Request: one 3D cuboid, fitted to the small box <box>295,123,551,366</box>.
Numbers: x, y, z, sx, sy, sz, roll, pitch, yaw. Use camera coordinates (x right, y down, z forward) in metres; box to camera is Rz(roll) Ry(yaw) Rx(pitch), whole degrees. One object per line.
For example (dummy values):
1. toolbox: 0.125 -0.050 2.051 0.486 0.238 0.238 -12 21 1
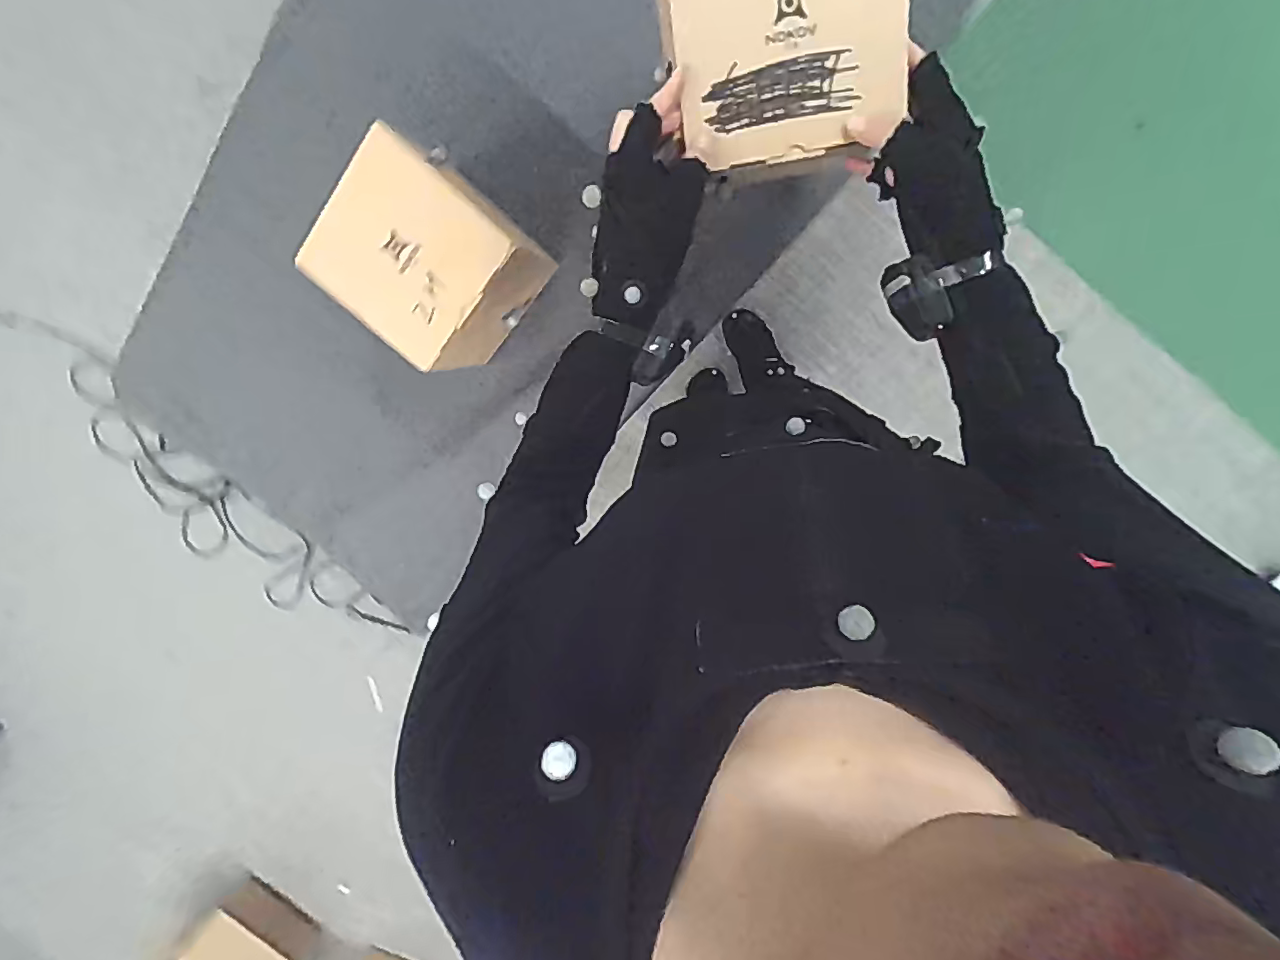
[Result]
1. small box: -0.232 -0.250 0.620 0.179 0.176 0.168 40 106 -5
